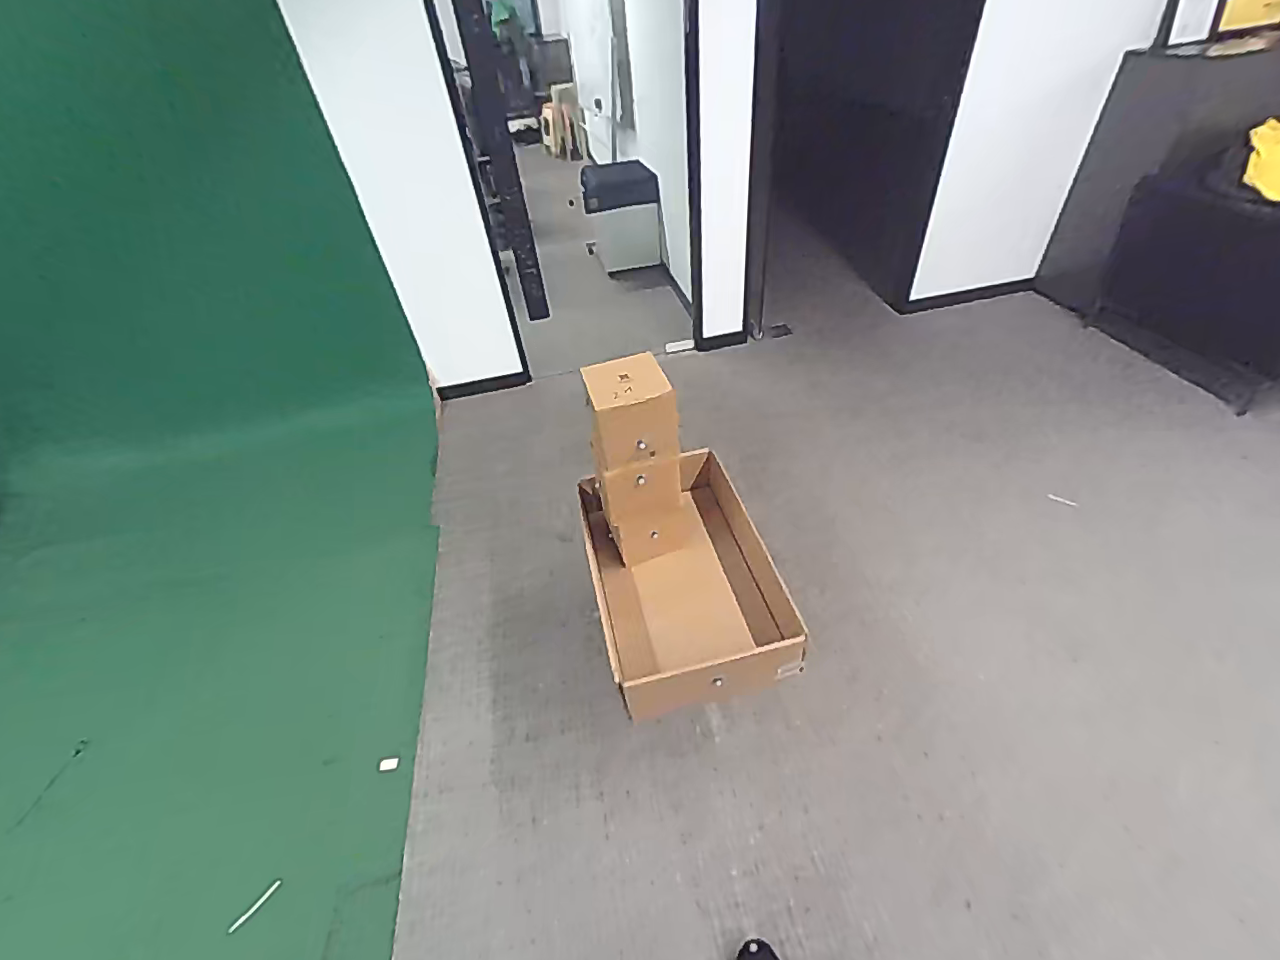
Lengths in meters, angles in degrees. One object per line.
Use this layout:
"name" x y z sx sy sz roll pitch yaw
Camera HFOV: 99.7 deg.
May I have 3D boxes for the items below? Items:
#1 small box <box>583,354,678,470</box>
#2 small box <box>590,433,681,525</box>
"small box" -0.021 -0.149 1.196 0.168 0.176 0.179 -15 44 -7
"small box" -0.008 -0.021 1.299 0.179 0.176 0.168 -16 44 -8
